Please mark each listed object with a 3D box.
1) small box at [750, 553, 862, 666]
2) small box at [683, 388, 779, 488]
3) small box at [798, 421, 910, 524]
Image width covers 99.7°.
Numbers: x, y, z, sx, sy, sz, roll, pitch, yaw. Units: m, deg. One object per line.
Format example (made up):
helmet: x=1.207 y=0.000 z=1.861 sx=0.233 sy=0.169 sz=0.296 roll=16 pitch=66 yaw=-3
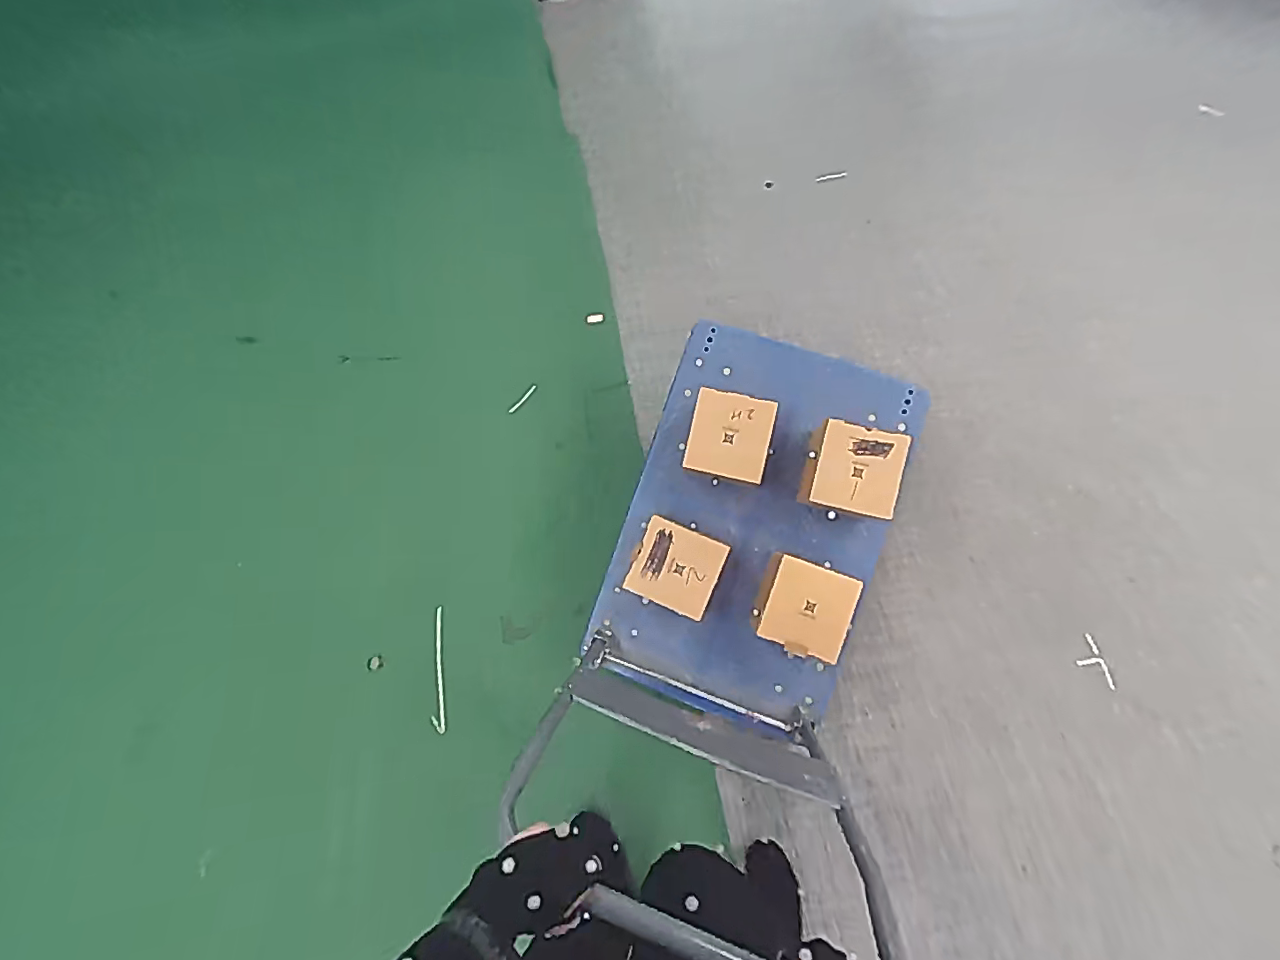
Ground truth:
small box: x=0.344 y=0.265 z=1.157 sx=0.168 sy=0.176 sz=0.179 roll=20 pitch=88 yaw=7
small box: x=0.197 y=-0.085 z=1.199 sx=0.168 sy=0.176 sz=0.179 roll=14 pitch=87 yaw=6
small box: x=0.452 y=-0.010 z=1.168 sx=0.168 sy=0.176 sz=0.179 roll=15 pitch=88 yaw=7
